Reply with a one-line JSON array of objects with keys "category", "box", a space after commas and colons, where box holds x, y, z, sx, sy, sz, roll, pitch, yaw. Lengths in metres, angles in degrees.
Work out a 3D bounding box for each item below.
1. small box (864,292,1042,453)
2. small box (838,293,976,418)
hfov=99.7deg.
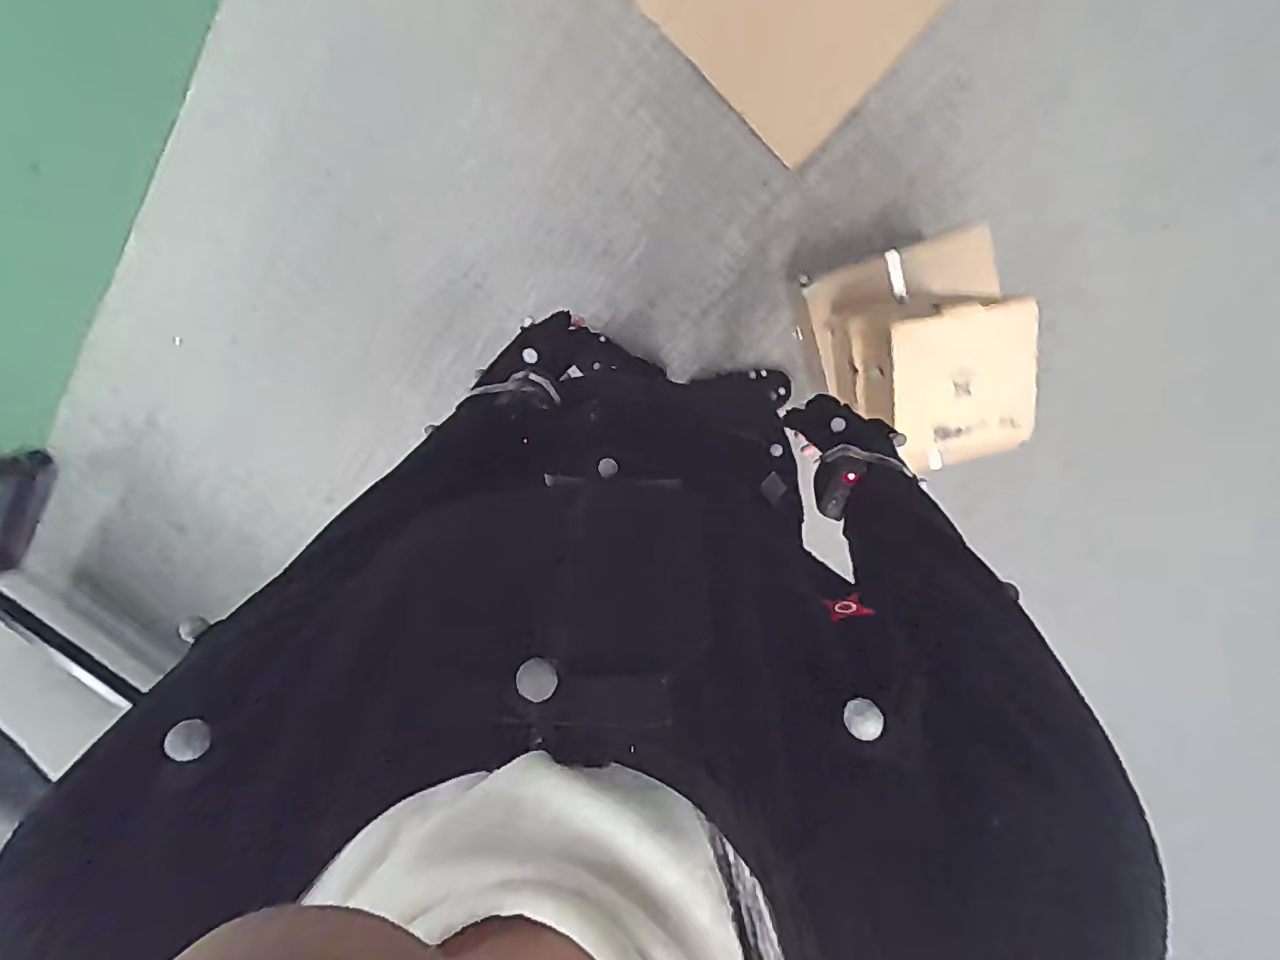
[{"category": "small box", "box": [0.423, -0.154, 0.753, 0.168, 0.176, 0.179, -10, 108, 11]}, {"category": "small box", "box": [0.436, -0.211, 0.903, 0.179, 0.176, 0.168, -9, 108, 12]}]
